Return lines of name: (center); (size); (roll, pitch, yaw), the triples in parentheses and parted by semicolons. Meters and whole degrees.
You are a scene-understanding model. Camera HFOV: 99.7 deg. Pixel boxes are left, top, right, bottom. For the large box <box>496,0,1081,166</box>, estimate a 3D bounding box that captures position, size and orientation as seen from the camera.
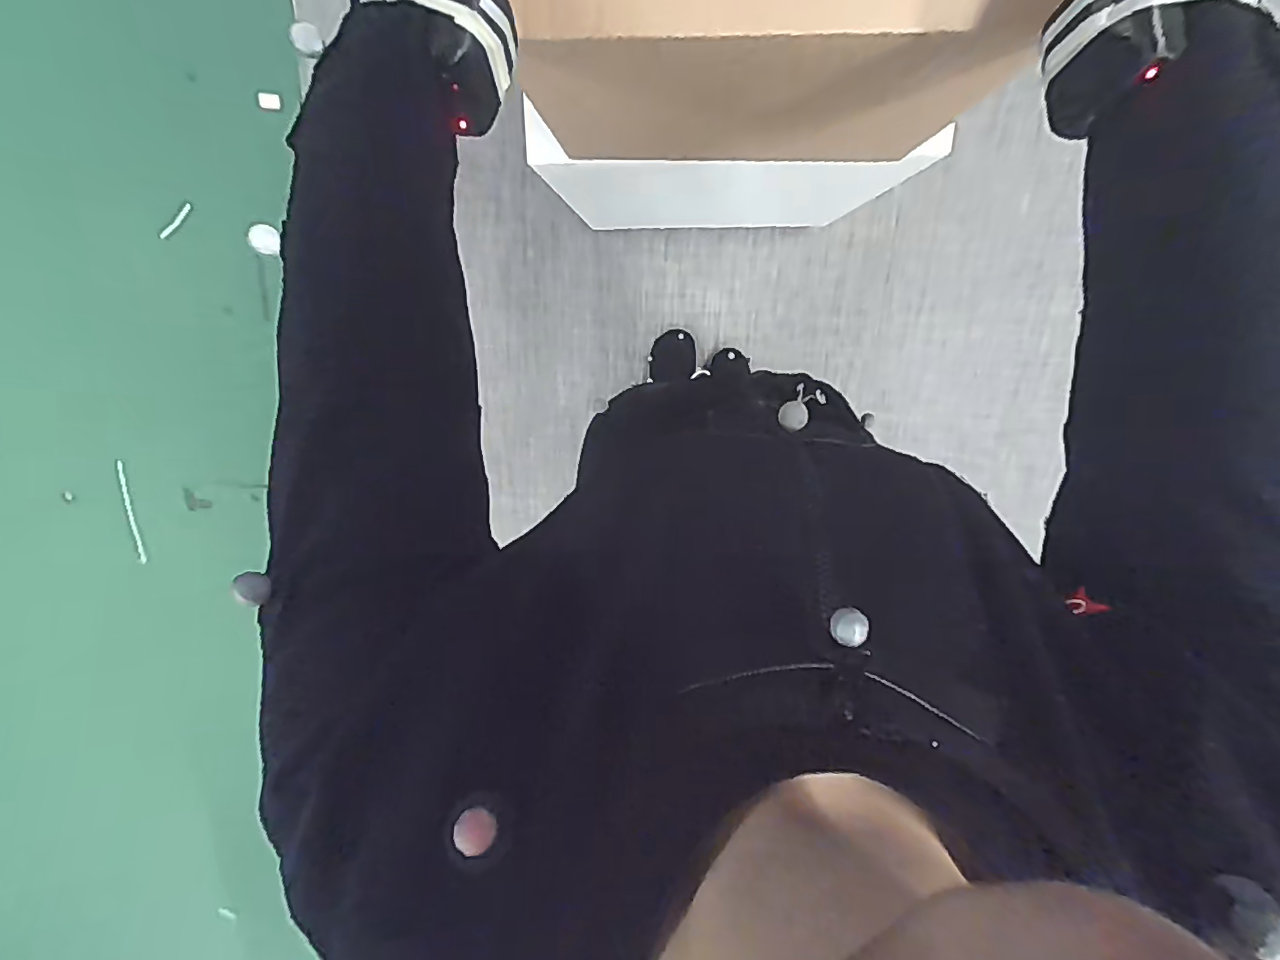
large box: (0.100, -0.492, 0.473); (0.408, 0.320, 0.320); (1, 107, 2)
